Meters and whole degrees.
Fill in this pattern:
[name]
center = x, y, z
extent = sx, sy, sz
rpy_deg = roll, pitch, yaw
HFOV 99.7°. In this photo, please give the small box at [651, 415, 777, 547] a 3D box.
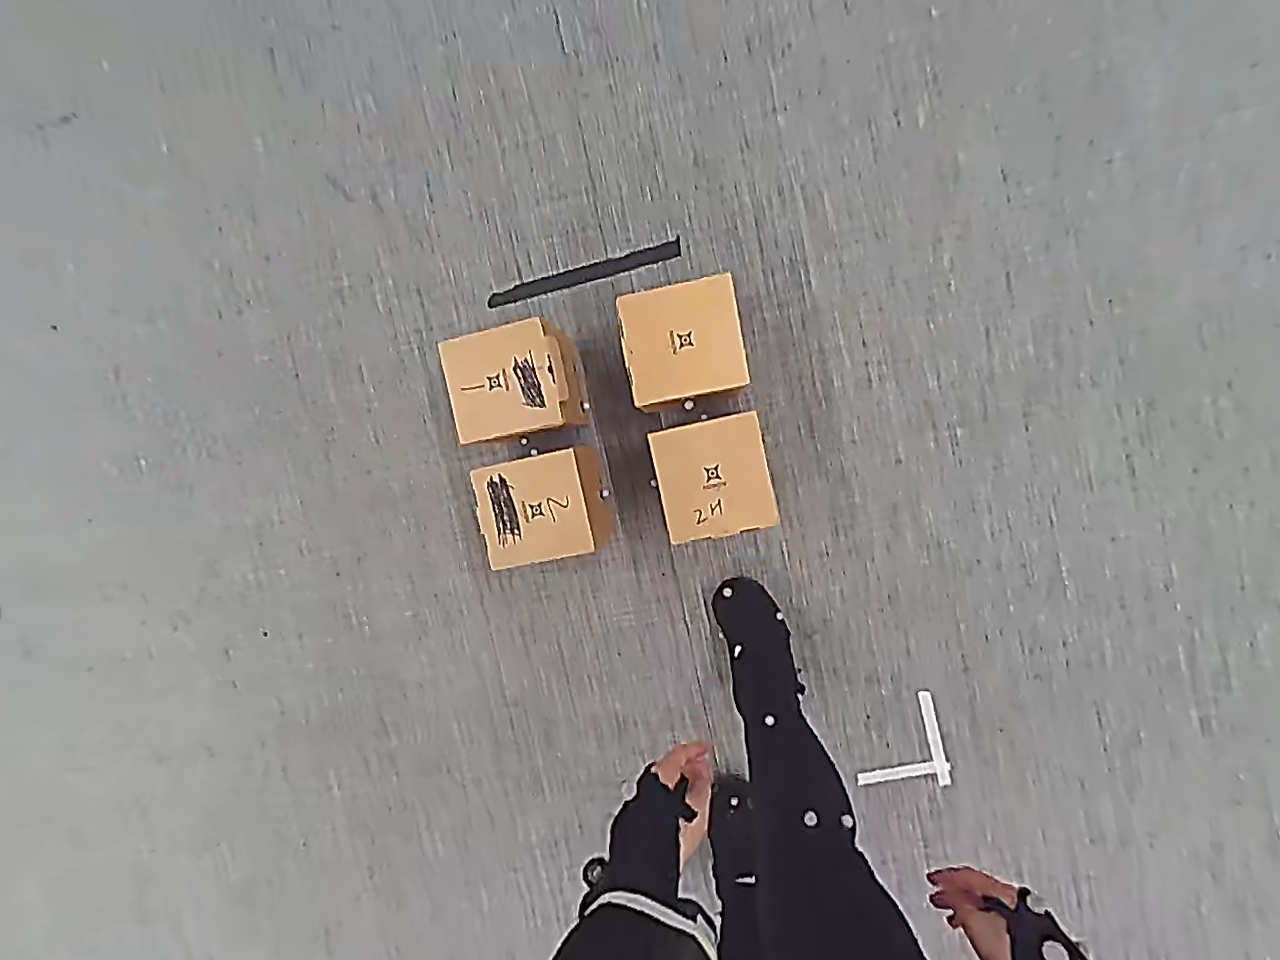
[small box]
center = 0.120, -0.002, 0.893
extent = 0.168, 0.176, 0.179
rpy_deg = -12, 93, 8
